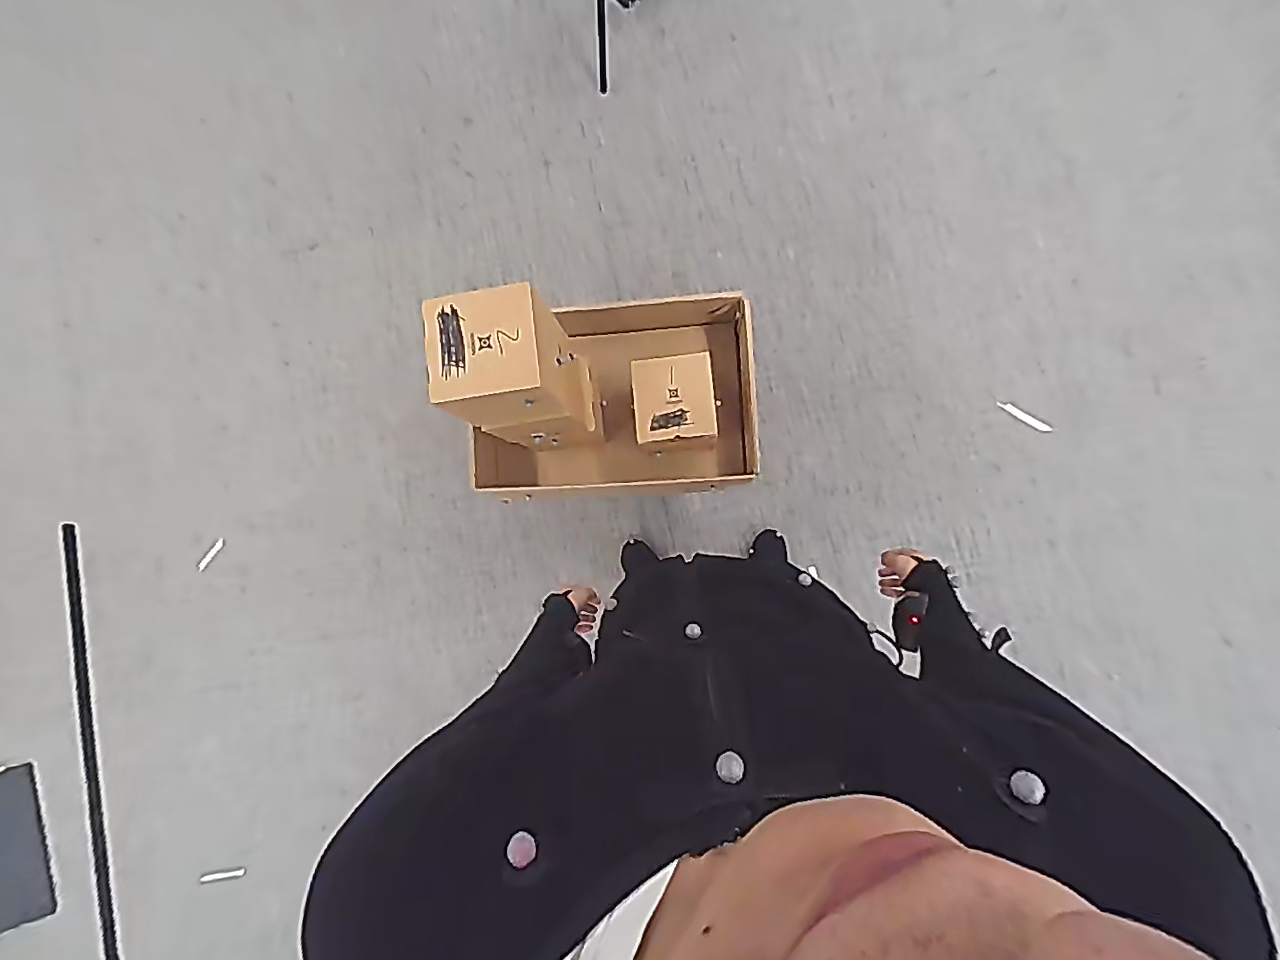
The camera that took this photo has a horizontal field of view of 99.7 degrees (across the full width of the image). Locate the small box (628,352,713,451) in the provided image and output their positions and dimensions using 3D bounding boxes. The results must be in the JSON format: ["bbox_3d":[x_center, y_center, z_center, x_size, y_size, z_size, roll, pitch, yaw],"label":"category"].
[{"bbox_3d":[0.072,-0.161,1.180,0.168,0.176,0.179,-6,84,6],"label":"small box"}]

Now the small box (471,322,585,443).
[{"bbox_3d":[-0.210,-0.180,1.047,0.168,0.176,0.179,-9,84,6],"label":"small box"}]

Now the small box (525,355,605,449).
[{"bbox_3d":[-0.183,-0.166,1.208,0.179,0.176,0.168,-6,85,5],"label":"small box"}]
